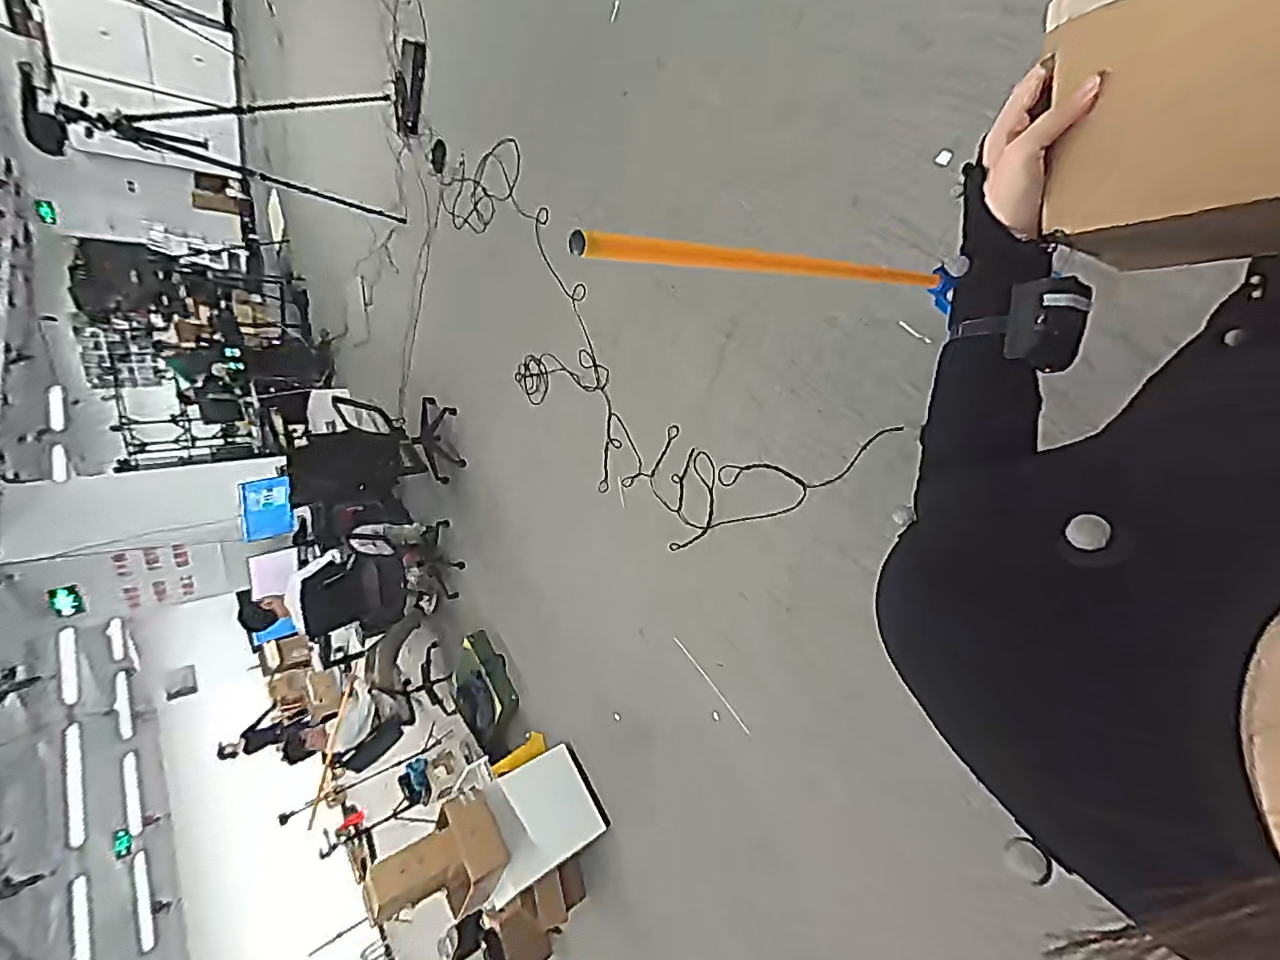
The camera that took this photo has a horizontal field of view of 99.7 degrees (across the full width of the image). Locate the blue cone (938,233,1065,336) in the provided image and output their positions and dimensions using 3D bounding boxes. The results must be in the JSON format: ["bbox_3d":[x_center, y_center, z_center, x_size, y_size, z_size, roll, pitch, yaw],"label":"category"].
[{"bbox_3d":[0.728,-0.434,1.167,0.193,0.380,0.192,56,134,24],"label":"blue cone"}]

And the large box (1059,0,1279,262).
[{"bbox_3d":[0.553,-0.353,0.341,0.408,0.320,0.320,9,106,48],"label":"large box"}]
